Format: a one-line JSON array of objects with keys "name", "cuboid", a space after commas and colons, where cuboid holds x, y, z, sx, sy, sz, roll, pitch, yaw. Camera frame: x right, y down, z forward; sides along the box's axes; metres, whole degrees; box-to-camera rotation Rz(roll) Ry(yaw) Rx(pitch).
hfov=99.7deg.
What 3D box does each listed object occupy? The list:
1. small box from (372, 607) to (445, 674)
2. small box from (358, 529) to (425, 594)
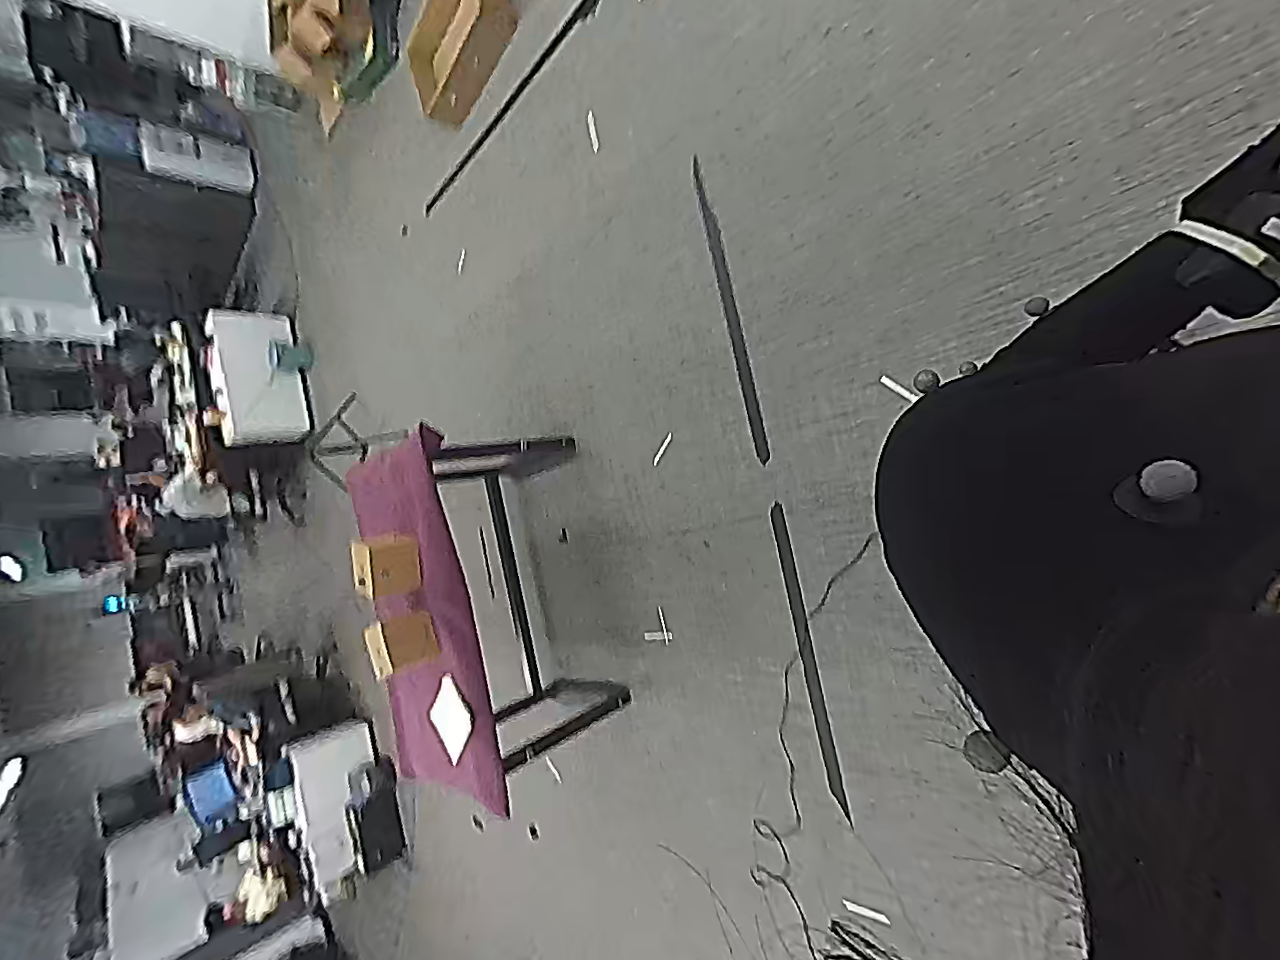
[{"name": "small box", "cuboid": [-0.809, 0.554, 1.890, 0.168, 0.176, 0.179, -32, 73, 43]}, {"name": "small box", "cuboid": [-0.872, 0.282, 1.906, 0.168, 0.176, 0.179, 5, 100, 45]}]
